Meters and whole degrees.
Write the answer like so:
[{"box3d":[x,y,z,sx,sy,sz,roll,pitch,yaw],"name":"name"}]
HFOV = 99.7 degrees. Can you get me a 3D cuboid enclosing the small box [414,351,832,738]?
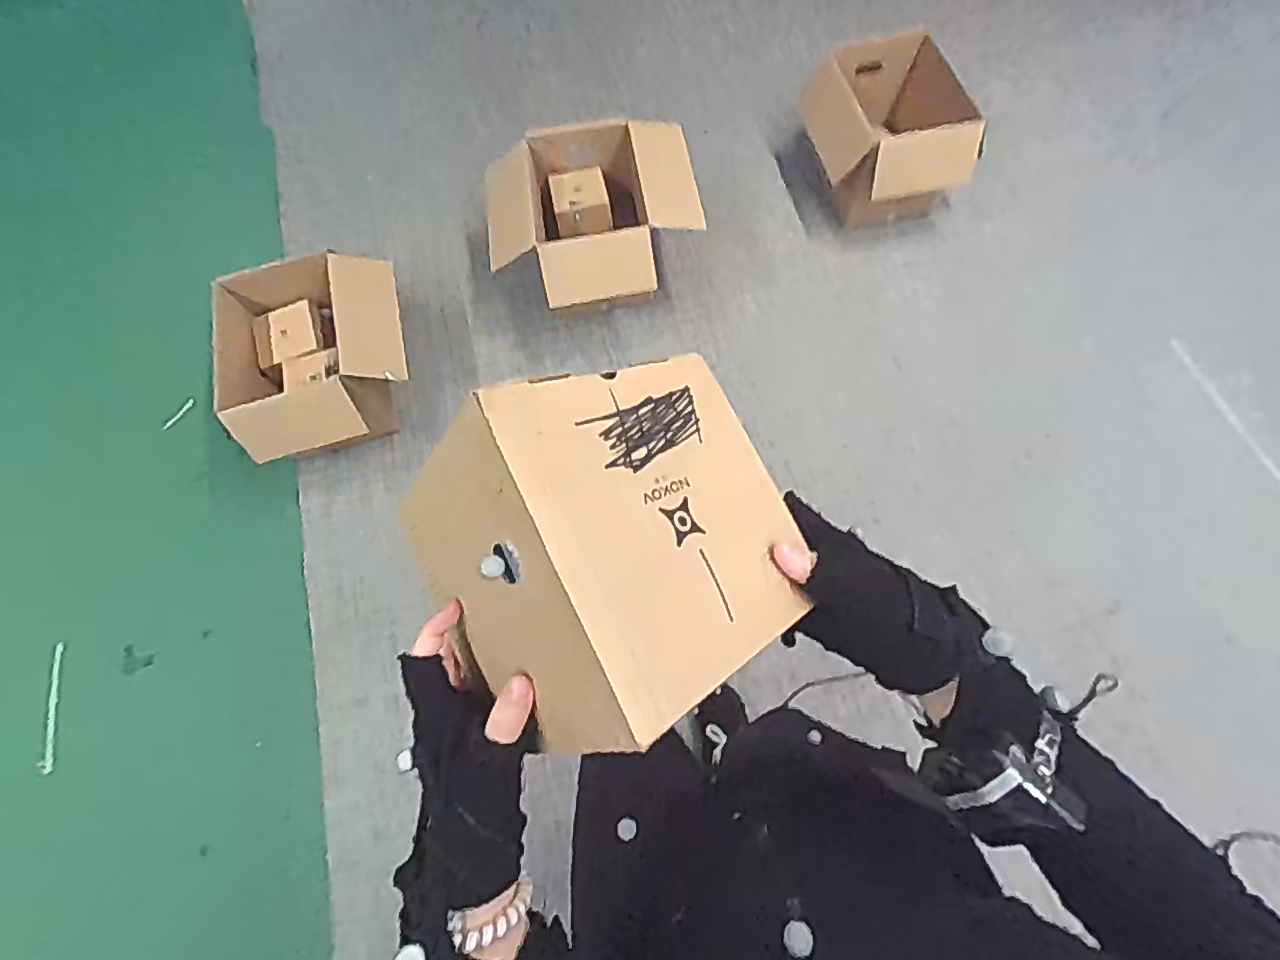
[{"box3d":[-0.022,0.042,0.347,0.168,0.176,0.179,-19,79,-40],"name":"small box"}]
